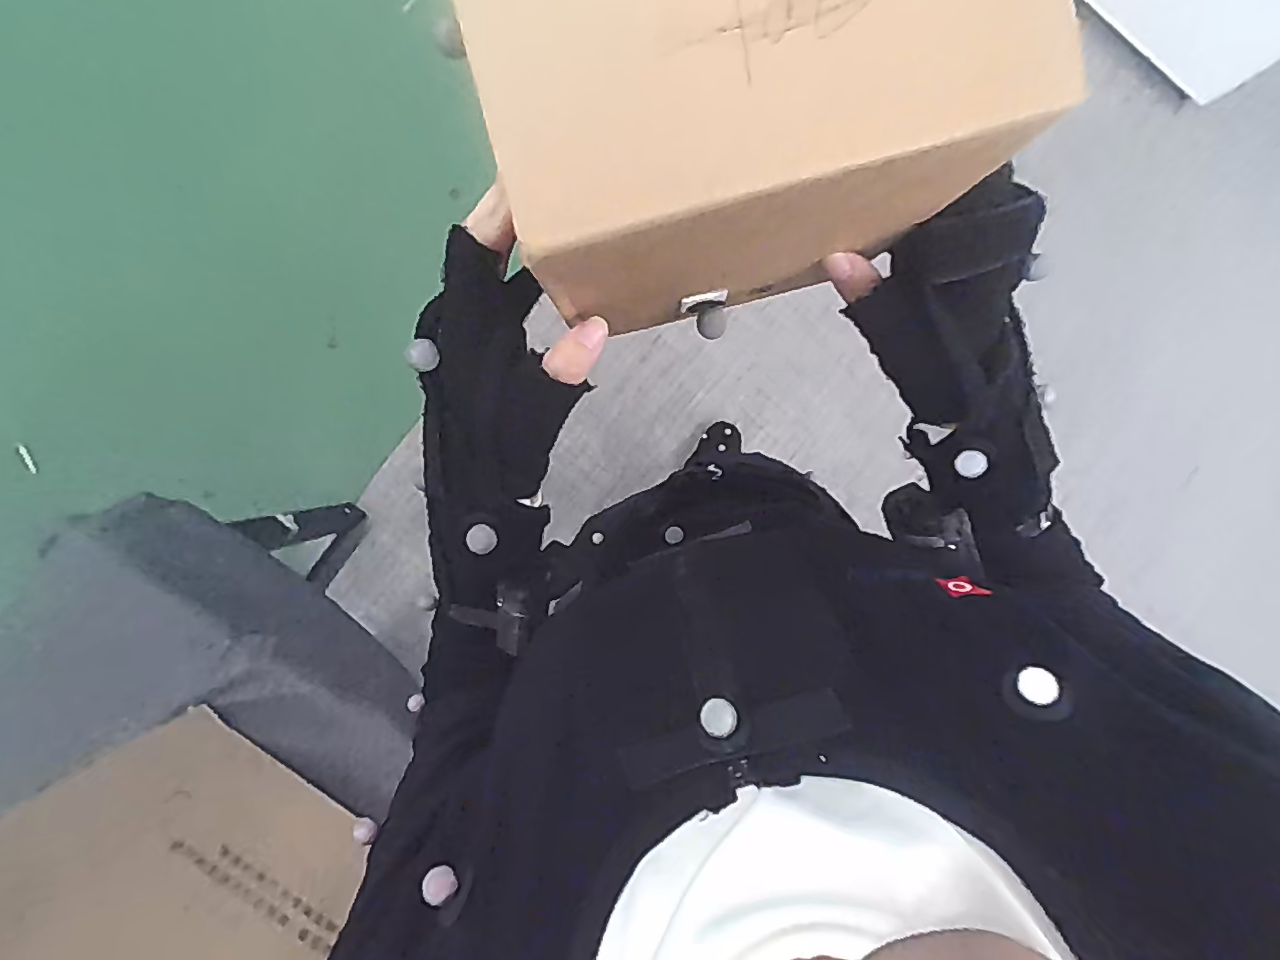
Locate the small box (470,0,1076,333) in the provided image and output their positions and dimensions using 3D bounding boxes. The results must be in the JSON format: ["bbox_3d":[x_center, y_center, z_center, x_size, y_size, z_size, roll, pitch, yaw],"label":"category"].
[{"bbox_3d":[0.026,-0.179,0.229,0.168,0.176,0.179,-14,96,2],"label":"small box"}]
